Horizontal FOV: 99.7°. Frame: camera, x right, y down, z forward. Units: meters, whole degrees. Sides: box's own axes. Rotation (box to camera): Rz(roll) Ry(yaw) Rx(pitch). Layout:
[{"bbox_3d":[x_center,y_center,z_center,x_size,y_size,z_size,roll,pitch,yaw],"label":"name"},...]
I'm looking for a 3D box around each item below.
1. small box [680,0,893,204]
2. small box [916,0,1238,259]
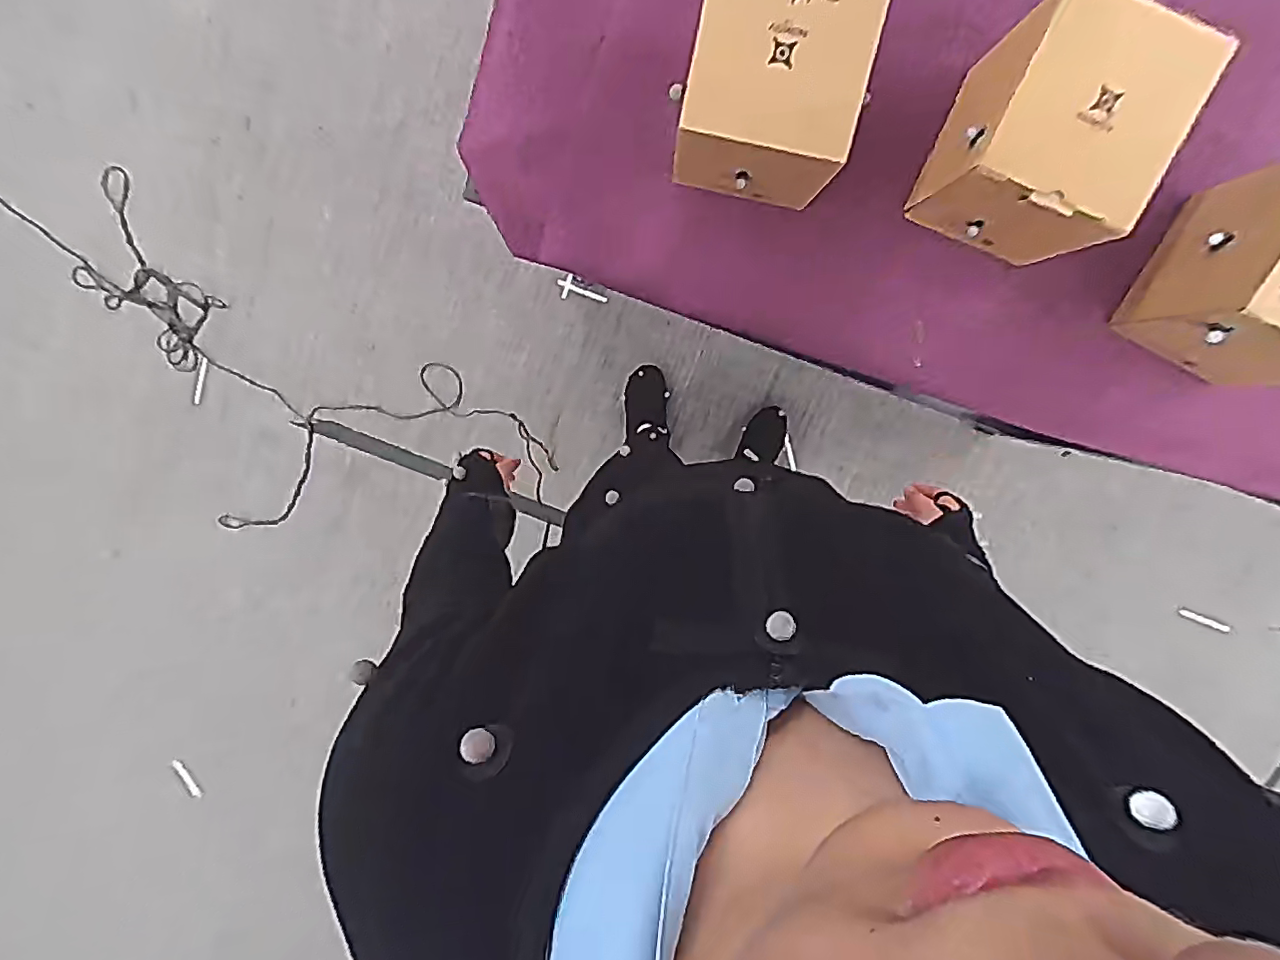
[{"bbox_3d":[0.140,-0.417,0.573,0.168,0.176,0.179,12,102,-1],"label":"small box"},{"bbox_3d":[0.433,-0.362,0.575,0.168,0.176,0.179,22,103,-2],"label":"small box"}]
